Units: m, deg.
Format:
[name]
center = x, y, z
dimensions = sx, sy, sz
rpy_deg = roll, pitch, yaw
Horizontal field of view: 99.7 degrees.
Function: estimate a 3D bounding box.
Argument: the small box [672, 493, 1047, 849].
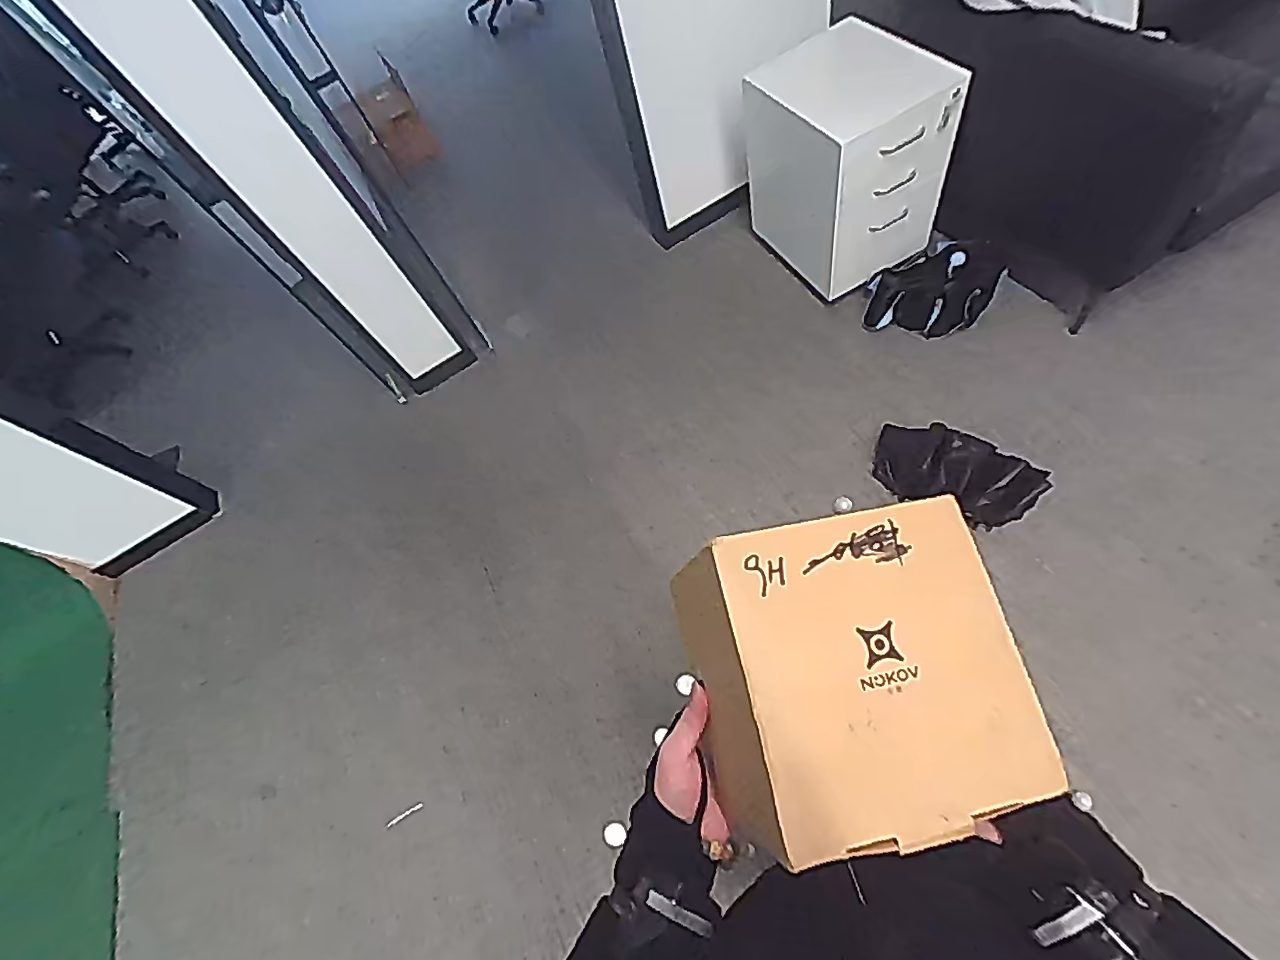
[small box]
center = 0.128, 0.121, 0.391
dimensions = 0.168, 0.176, 0.179
rpy_deg = -8, 75, -9
